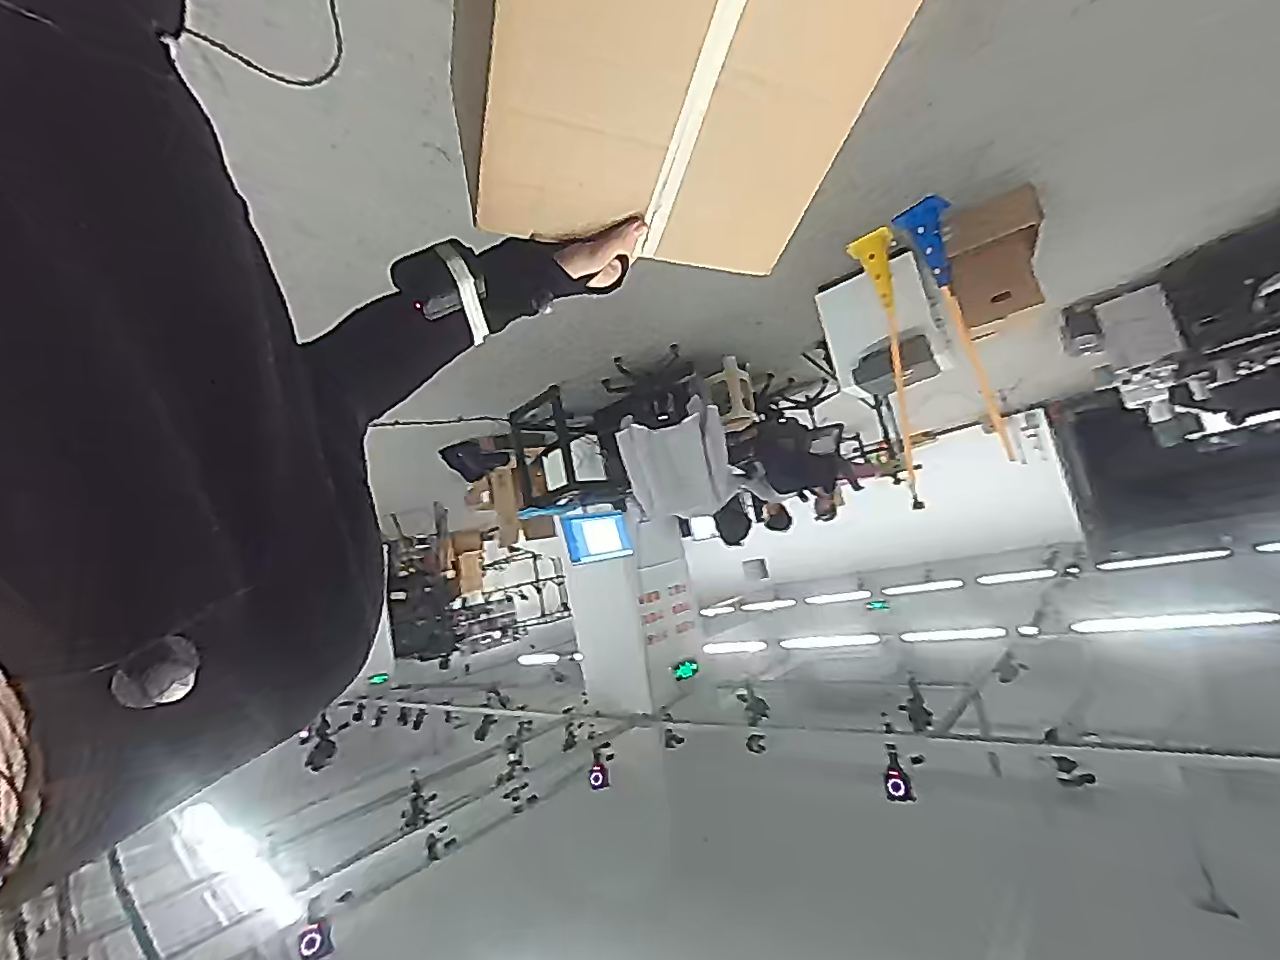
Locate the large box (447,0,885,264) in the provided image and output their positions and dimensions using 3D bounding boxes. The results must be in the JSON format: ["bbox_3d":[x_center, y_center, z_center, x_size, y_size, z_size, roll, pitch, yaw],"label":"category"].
[{"bbox_3d":[0.005,-0.470,0.470,0.320,0.320,0.408,-1,144,-24],"label":"large box"}]
